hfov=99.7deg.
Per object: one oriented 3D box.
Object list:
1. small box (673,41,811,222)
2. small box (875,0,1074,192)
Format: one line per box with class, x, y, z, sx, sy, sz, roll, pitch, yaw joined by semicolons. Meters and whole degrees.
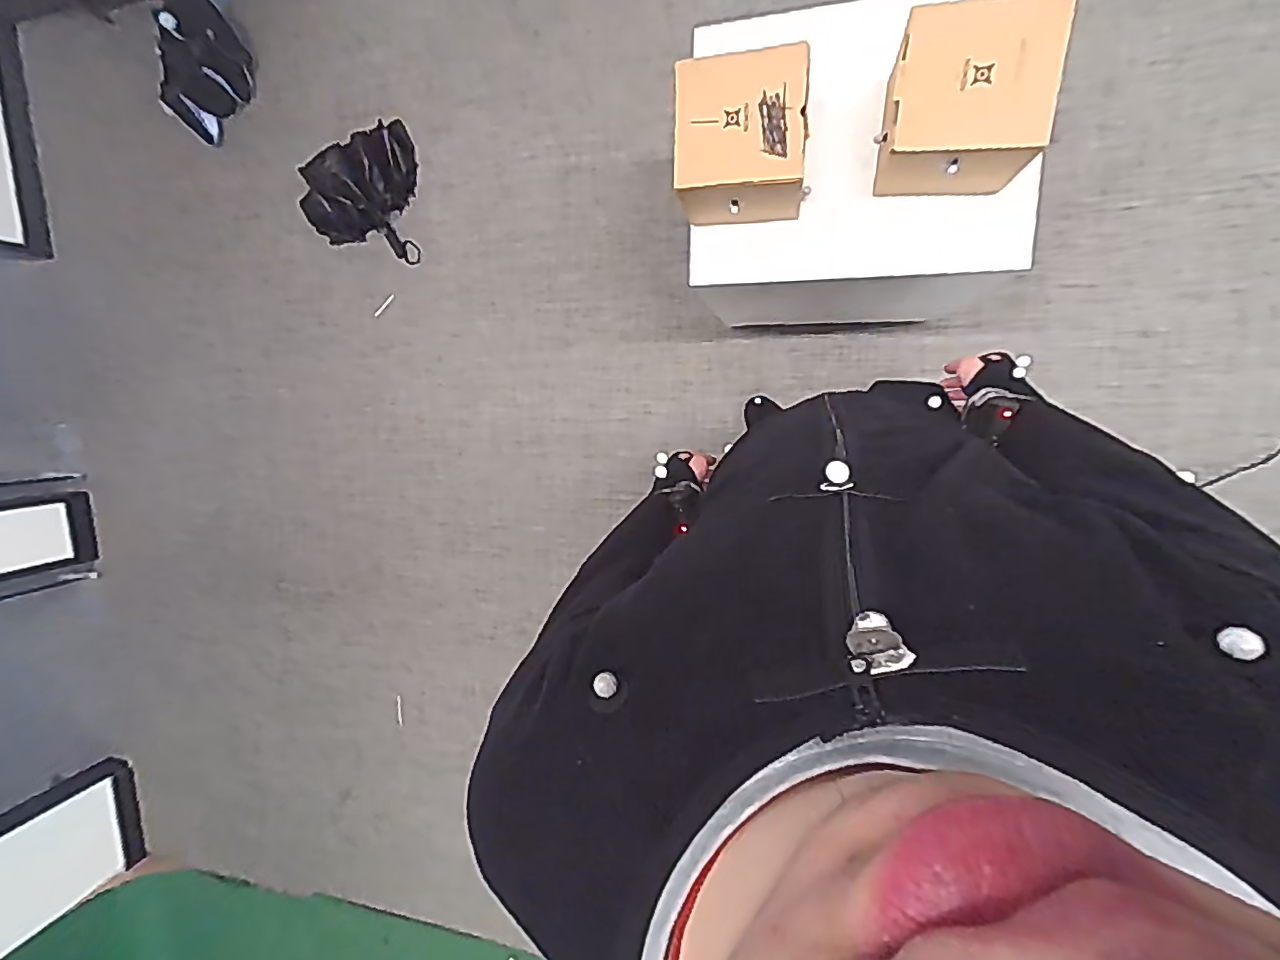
small box;0.151;-0.493;0.793;0.179;0.176;0.168;3;99;15
small box;0.424;-0.498;0.720;0.179;0.176;0.168;7;102;14
